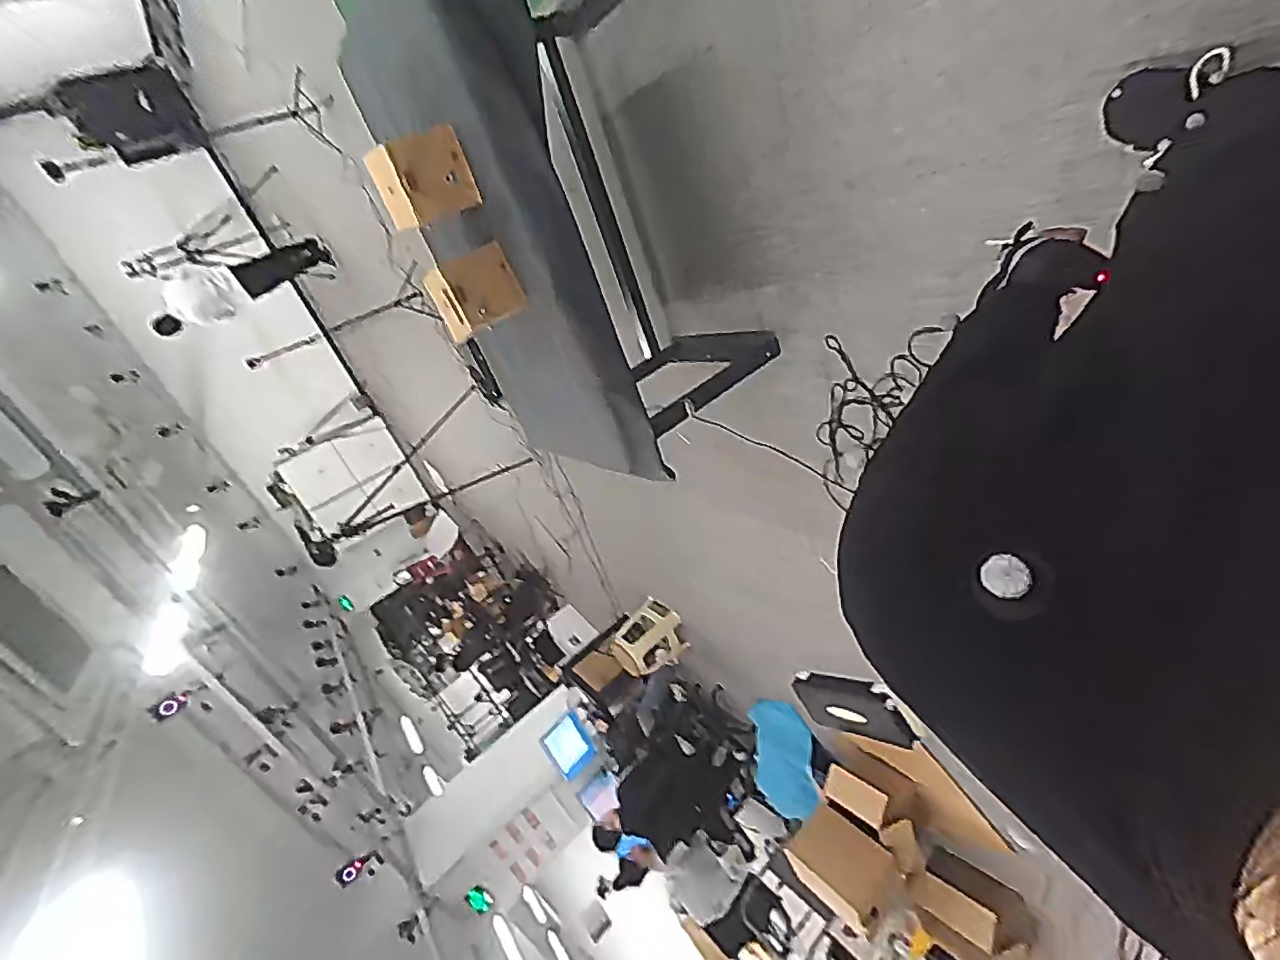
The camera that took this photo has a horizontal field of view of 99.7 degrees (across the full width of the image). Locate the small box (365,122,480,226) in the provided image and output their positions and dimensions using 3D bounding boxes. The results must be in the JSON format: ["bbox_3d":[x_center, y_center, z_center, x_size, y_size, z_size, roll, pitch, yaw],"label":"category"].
[{"bbox_3d":[-0.500,-0.705,1.254,0.179,0.176,0.168,22,139,48],"label":"small box"}]
